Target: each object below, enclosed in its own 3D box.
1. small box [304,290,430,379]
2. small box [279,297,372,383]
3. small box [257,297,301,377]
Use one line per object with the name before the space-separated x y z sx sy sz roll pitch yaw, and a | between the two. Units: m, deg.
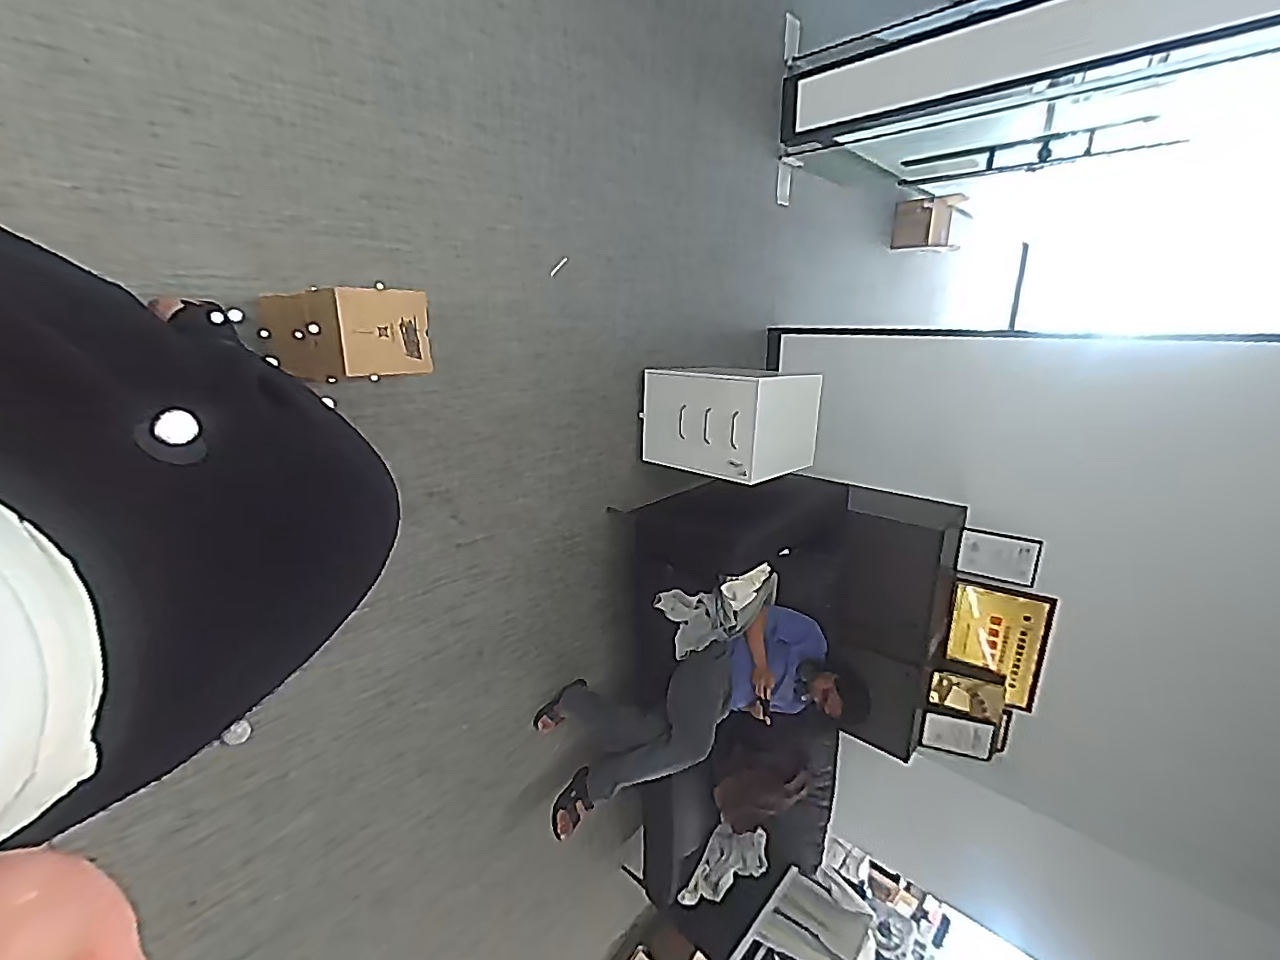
small box | -0.562 -0.301 1.119 0.179 0.176 0.168 -16 112 -45
small box | -0.690 -0.322 1.223 0.168 0.176 0.179 -18 117 -45
small box | -0.810 -0.353 1.326 0.168 0.176 0.179 -17 114 -46
